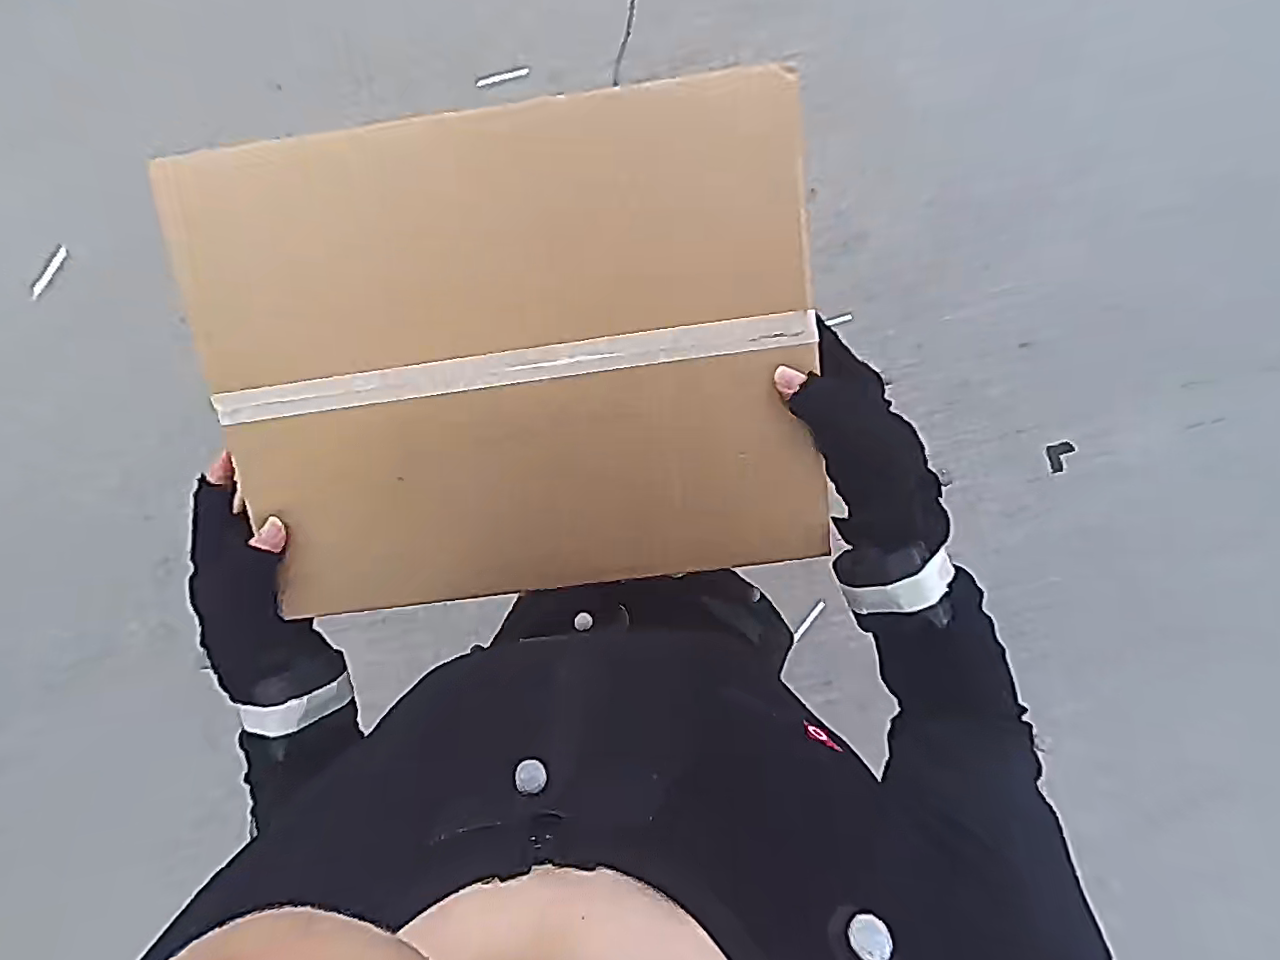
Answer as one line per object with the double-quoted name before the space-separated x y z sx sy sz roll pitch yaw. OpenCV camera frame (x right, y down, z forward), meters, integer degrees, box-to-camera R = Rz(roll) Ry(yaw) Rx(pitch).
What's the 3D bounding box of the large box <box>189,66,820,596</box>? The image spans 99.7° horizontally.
"large box" -0.083 -0.113 0.520 0.408 0.320 0.320 -7 102 3
